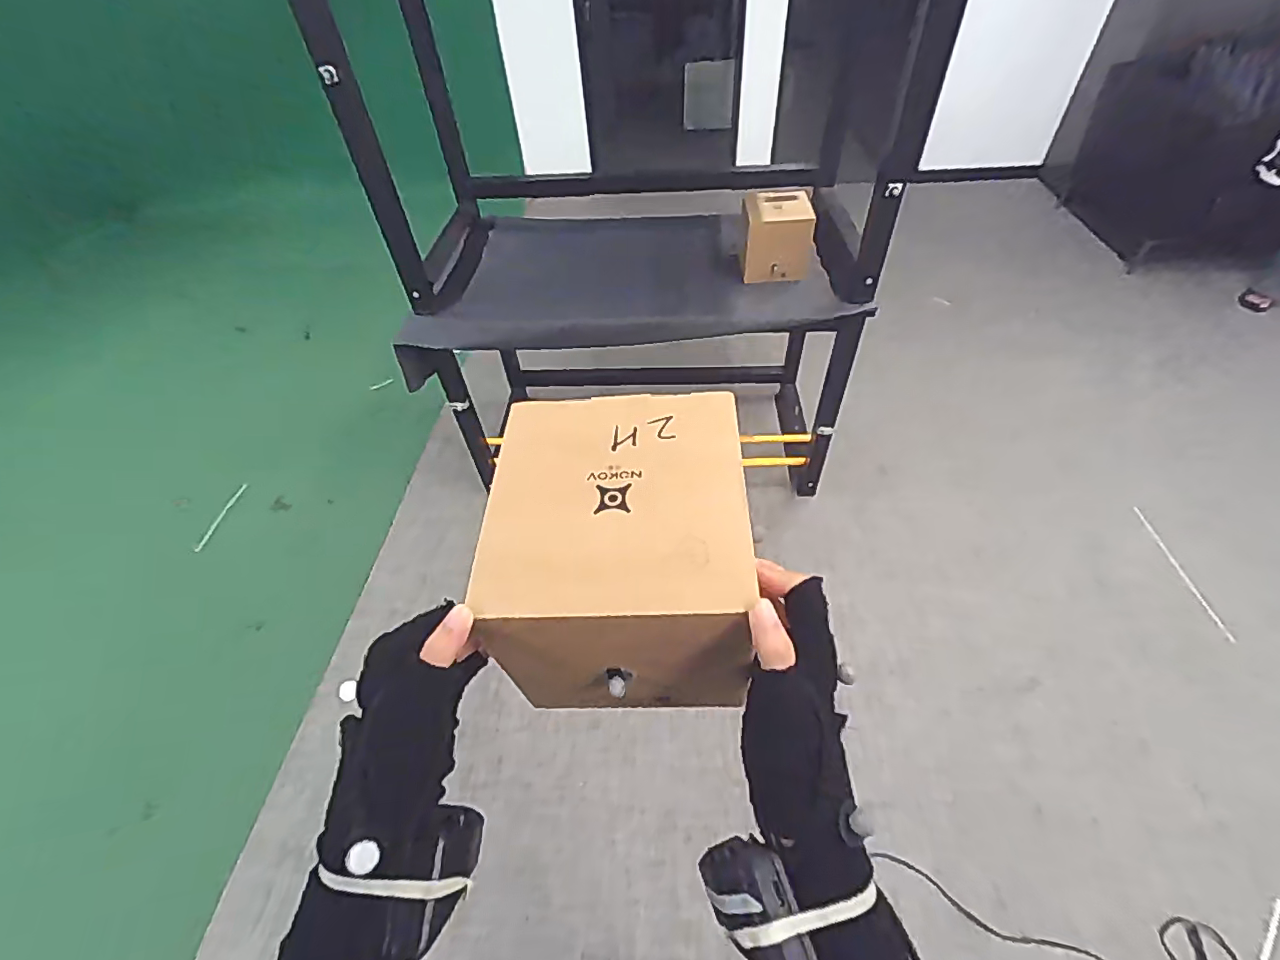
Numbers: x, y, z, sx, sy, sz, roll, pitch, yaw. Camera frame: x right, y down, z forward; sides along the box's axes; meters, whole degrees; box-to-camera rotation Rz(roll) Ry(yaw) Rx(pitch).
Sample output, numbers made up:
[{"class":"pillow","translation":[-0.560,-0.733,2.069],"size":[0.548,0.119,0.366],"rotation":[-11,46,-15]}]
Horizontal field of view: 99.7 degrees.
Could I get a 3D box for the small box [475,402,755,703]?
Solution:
[{"class":"small box","translation":[-0.007,0.063,0.418],"size":[0.168,0.176,0.179],"rotation":[-2,50,4]}]
